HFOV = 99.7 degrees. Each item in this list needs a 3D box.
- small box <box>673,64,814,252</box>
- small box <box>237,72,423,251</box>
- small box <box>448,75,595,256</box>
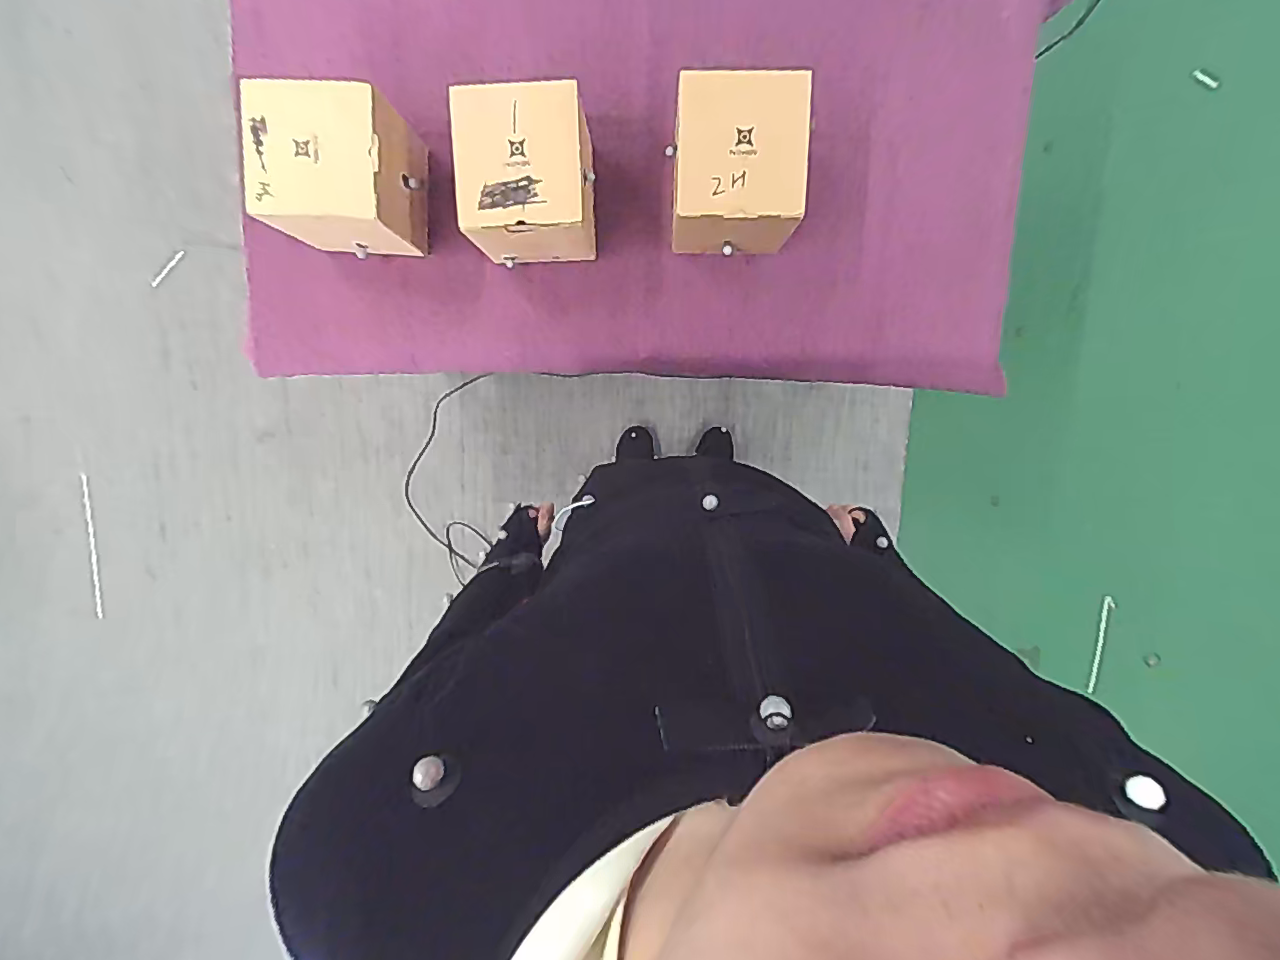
[{"bbox_3d":[0.133,-0.435,0.755,0.168,0.176,0.179,1,98,2],"label":"small box"},{"bbox_3d":[-0.422,-0.434,0.765,0.179,0.176,0.168,3,97,-1],"label":"small box"},{"bbox_3d":[-0.154,-0.425,0.762,0.168,0.176,0.179,-2,97,1],"label":"small box"}]
